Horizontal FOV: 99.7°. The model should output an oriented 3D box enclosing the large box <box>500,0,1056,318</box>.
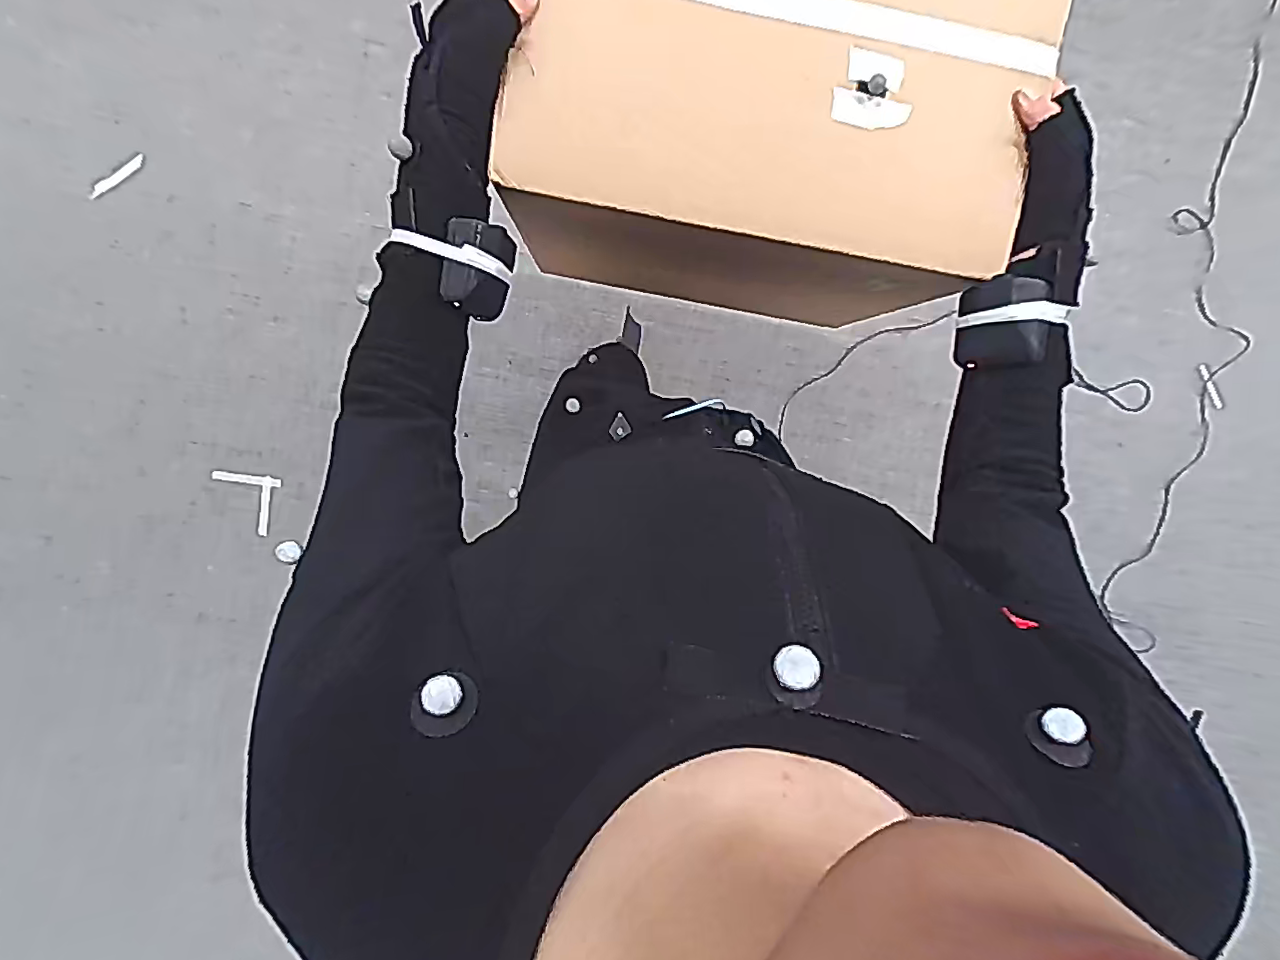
[{"bbox_3d":[0.098,-0.367,0.546,0.408,0.320,0.320,9,100,-6],"label":"large box"}]
